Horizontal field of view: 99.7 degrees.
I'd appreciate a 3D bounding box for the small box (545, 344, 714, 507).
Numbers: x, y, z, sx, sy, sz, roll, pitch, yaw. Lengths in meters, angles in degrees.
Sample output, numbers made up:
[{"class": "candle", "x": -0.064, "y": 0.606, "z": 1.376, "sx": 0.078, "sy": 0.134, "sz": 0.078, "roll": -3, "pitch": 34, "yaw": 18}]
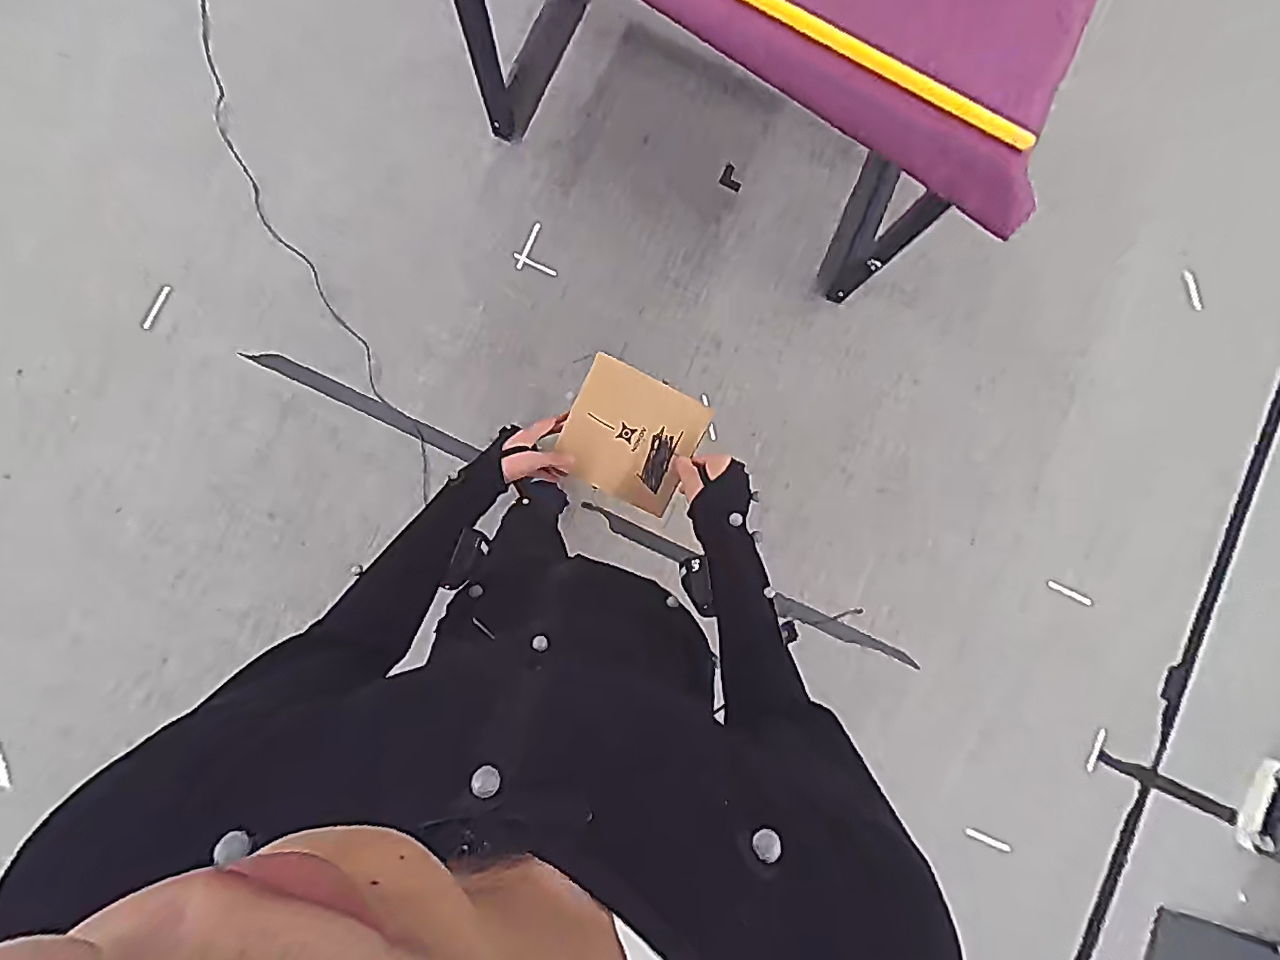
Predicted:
[{"class": "small box", "x": -0.018, "y": -0.085, "z": 0.790, "sx": 0.179, "sy": 0.176, "sz": 0.168, "roll": 26, "pitch": 98, "yaw": -8}]
